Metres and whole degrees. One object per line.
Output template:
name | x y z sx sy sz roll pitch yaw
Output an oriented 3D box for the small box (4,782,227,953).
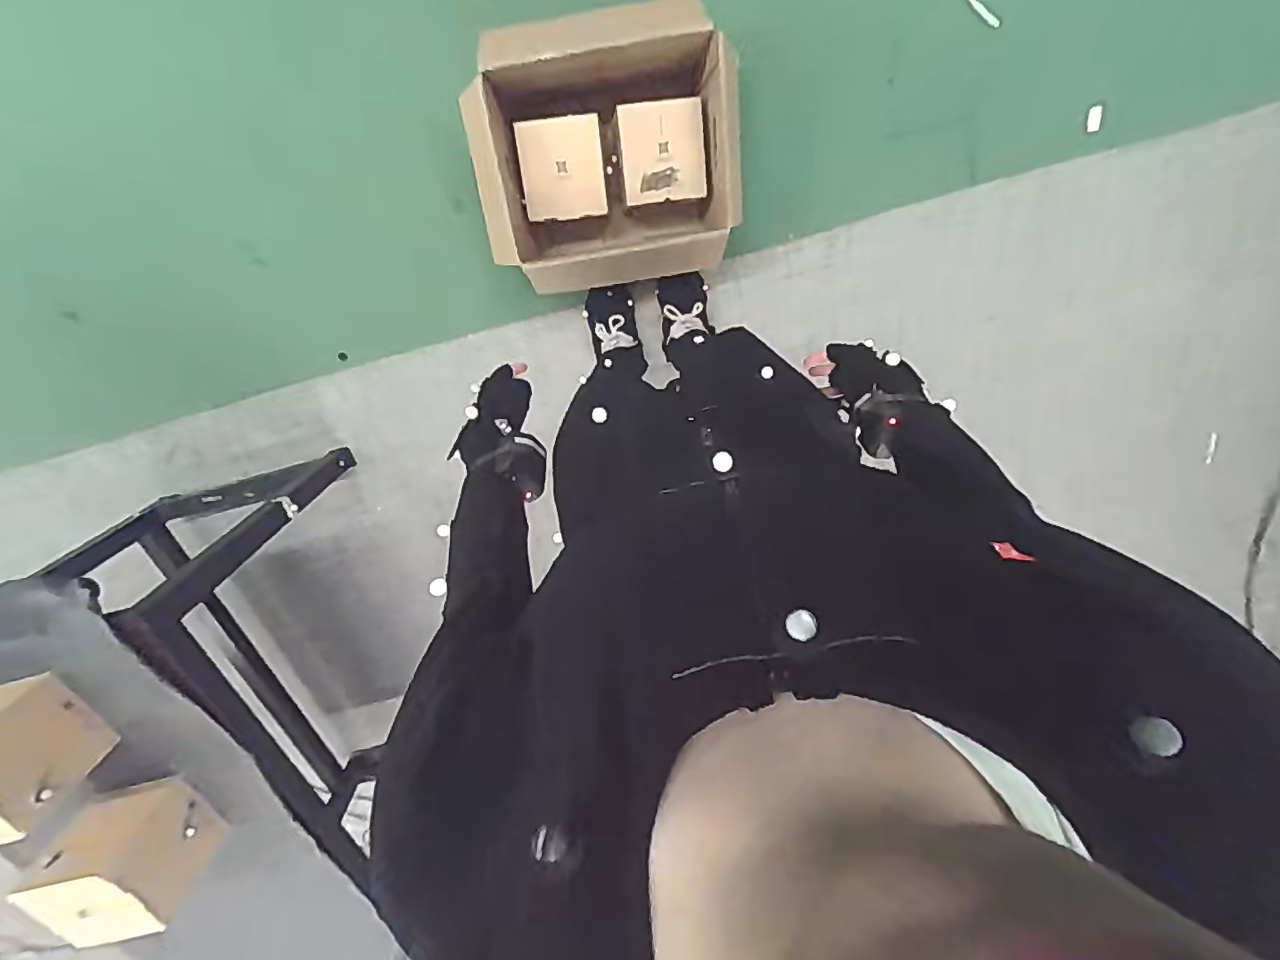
small box | -0.874 0.655 0.924 0.179 0.176 0.168 -15 115 5
